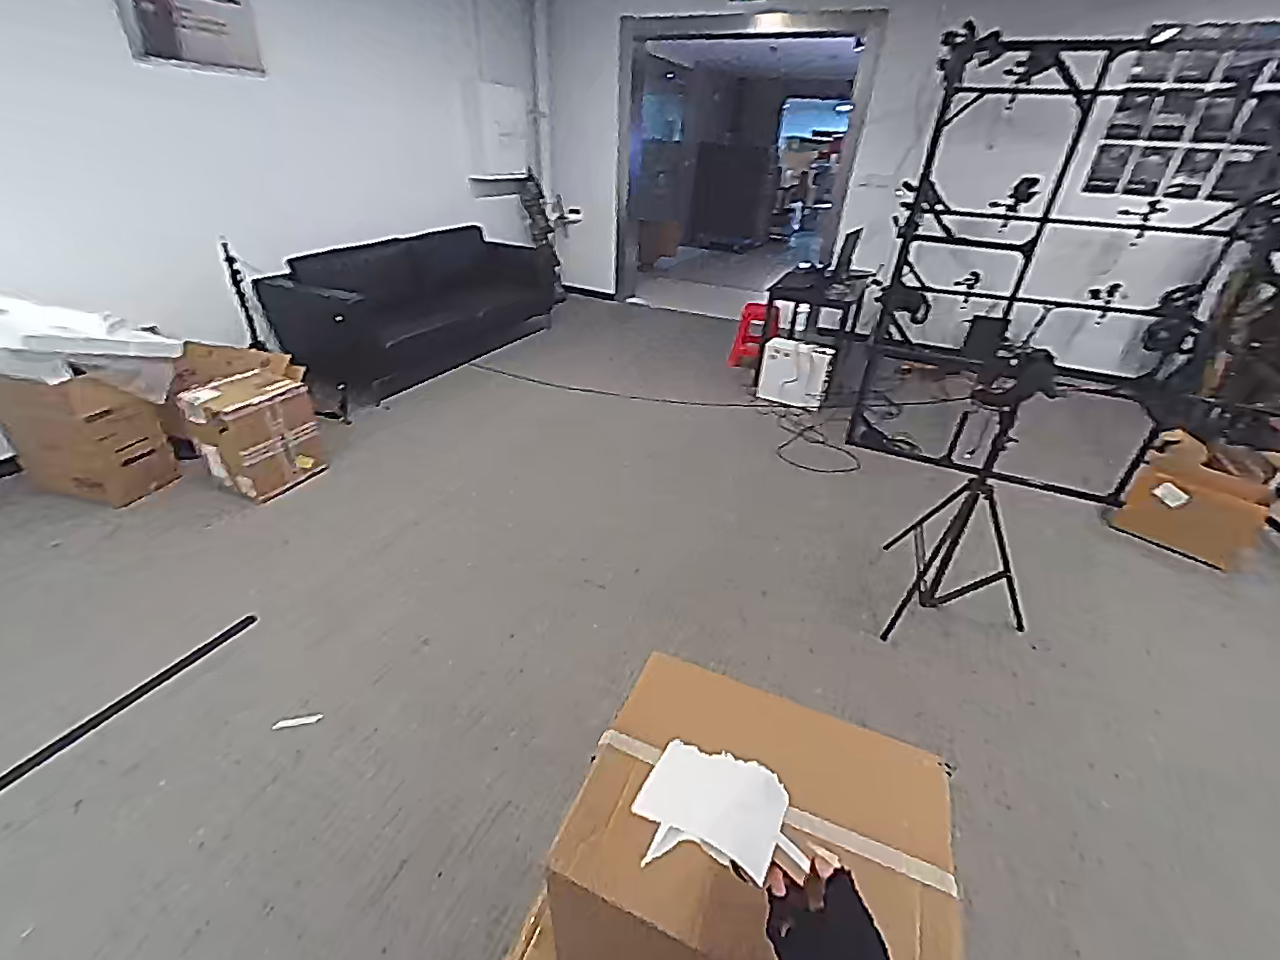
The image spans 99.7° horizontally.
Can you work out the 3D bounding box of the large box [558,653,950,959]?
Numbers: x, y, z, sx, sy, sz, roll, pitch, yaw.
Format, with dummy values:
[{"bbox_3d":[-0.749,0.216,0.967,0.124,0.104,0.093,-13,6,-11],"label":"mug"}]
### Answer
[{"bbox_3d":[0.137,0.505,0.720,0.408,0.320,0.320,15,34,18],"label":"large box"}]
